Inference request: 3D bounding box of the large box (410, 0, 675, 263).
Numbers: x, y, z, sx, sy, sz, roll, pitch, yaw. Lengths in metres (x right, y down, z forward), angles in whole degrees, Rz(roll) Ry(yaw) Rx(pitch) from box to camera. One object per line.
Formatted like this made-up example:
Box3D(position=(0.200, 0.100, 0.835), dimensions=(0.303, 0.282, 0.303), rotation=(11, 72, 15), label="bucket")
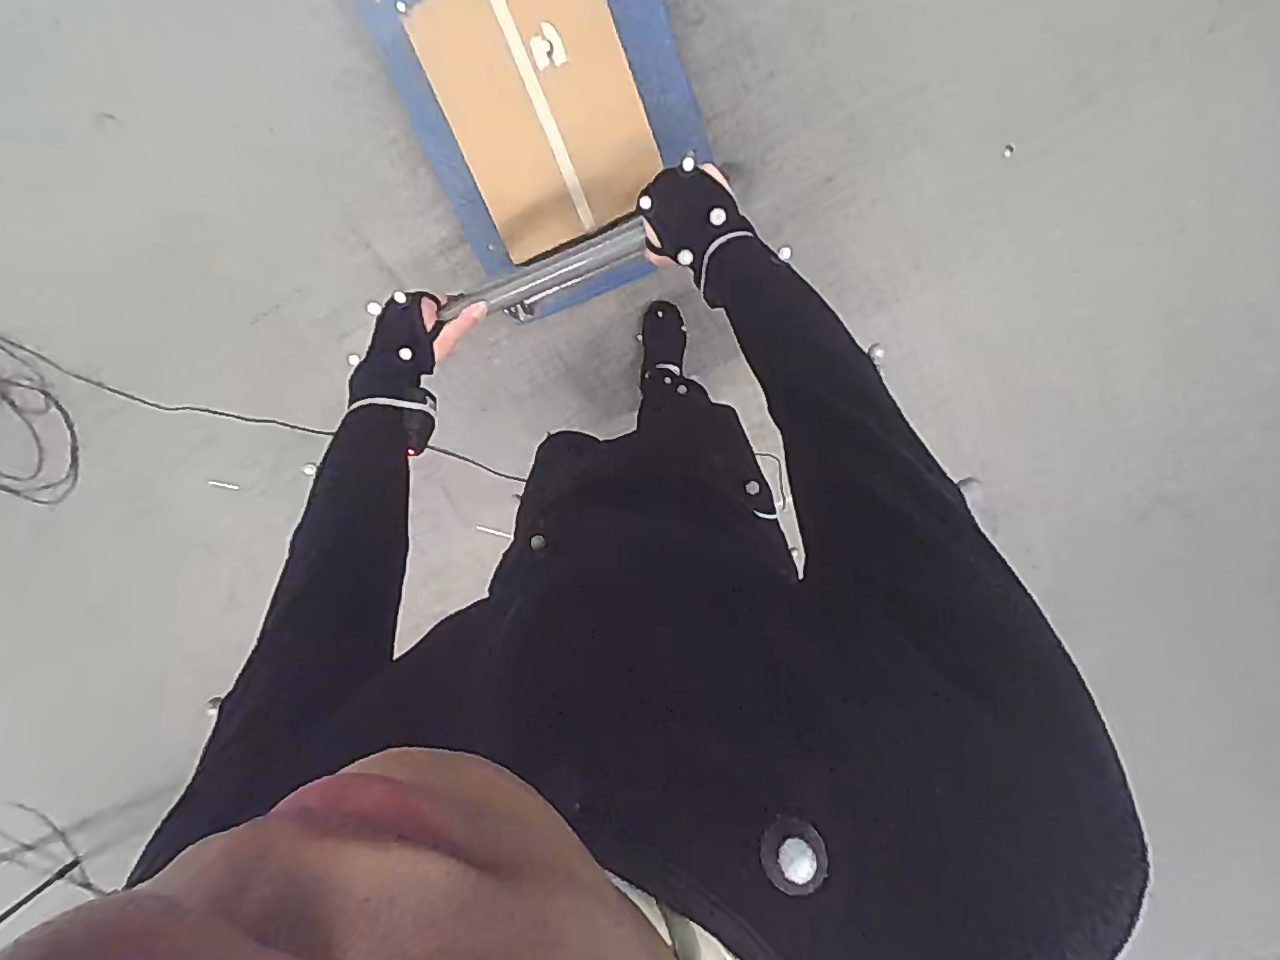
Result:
Box3D(position=(-0.145, -0.675, 1.037), dimensions=(0.320, 0.320, 0.408), rotation=(-20, 109, 11), label="large box")
